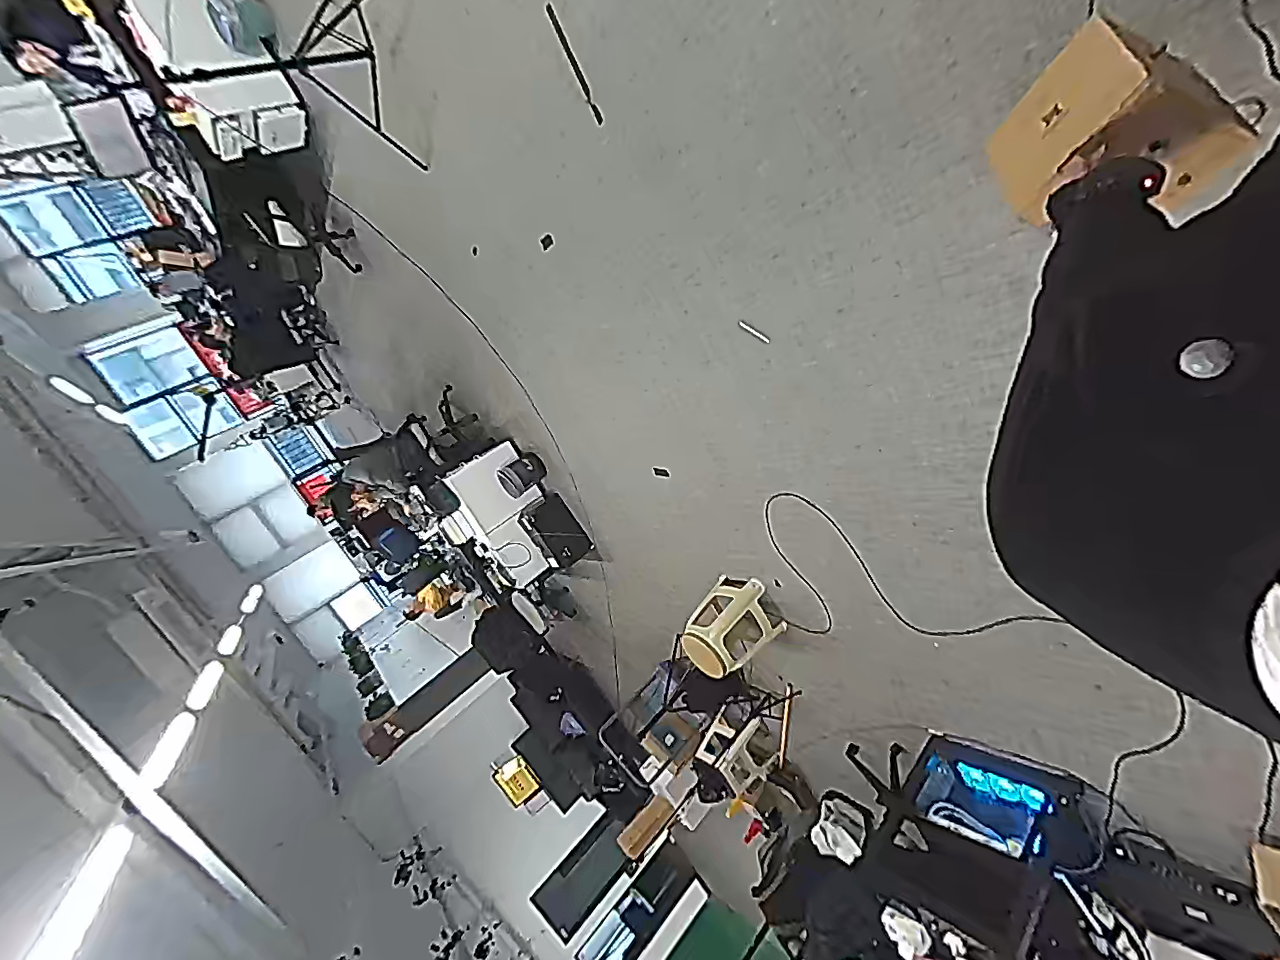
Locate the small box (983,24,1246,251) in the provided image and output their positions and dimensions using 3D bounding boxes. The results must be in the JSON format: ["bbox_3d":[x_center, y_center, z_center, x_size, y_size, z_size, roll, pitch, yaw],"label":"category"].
[{"bbox_3d":[0.590,-0.421,0.690,0.176,0.179,0.168,16,147,-13],"label":"small box"}]
